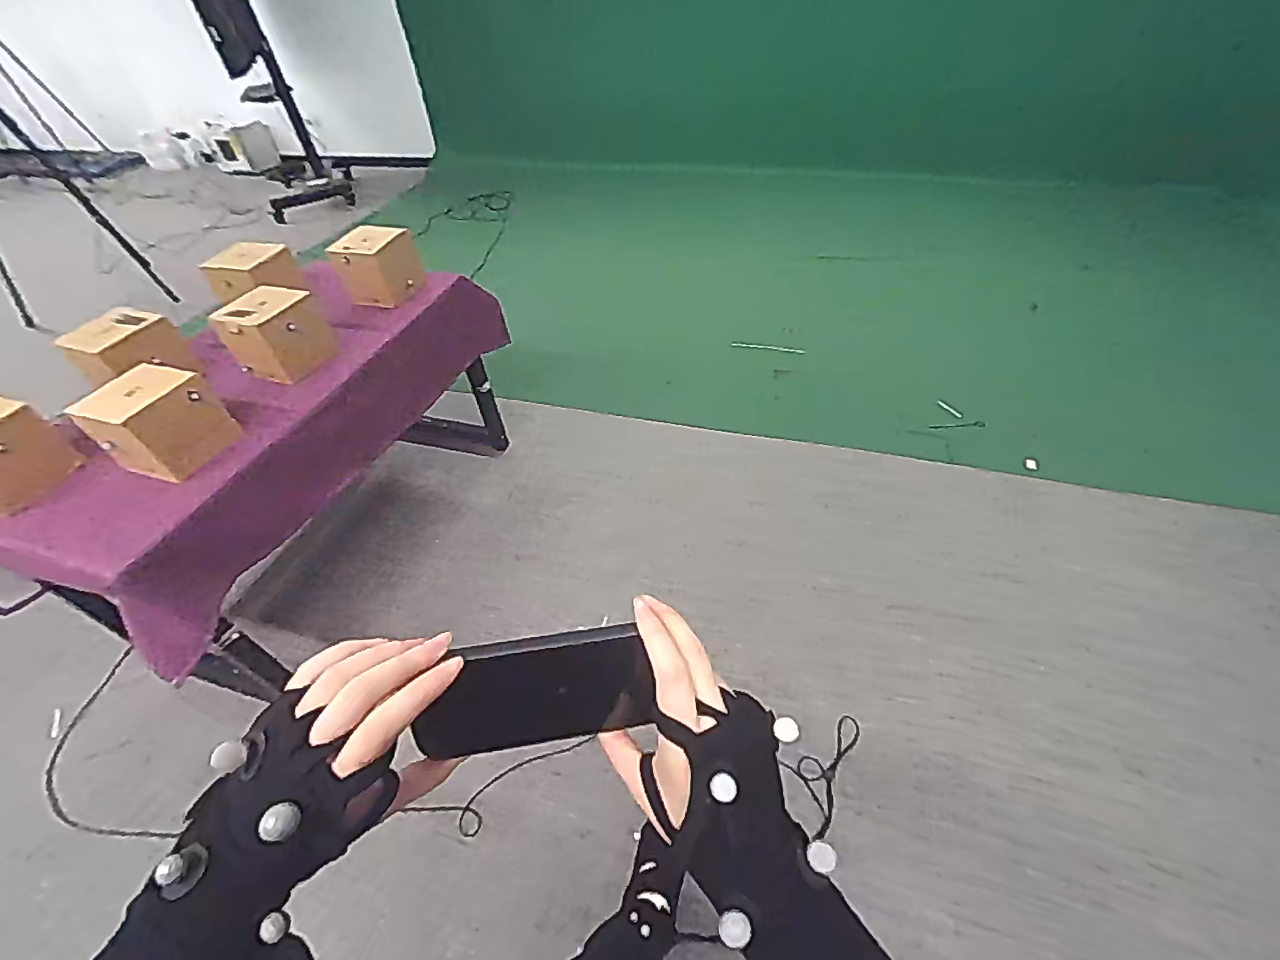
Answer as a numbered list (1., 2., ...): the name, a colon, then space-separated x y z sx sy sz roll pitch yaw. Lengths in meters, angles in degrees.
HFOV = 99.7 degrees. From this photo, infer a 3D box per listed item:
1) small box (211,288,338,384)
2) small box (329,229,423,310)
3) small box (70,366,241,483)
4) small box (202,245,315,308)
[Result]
1. small box: -0.919 -0.366 1.381 0.168 0.176 0.179 13 48 17
2. small box: -0.781 -0.635 1.628 0.168 0.176 0.179 9 47 14
3. small box: -1.012 -0.117 1.150 0.168 0.176 0.179 11 47 16
4. small box: -1.121 -0.577 1.602 0.179 0.176 0.168 9 48 13
